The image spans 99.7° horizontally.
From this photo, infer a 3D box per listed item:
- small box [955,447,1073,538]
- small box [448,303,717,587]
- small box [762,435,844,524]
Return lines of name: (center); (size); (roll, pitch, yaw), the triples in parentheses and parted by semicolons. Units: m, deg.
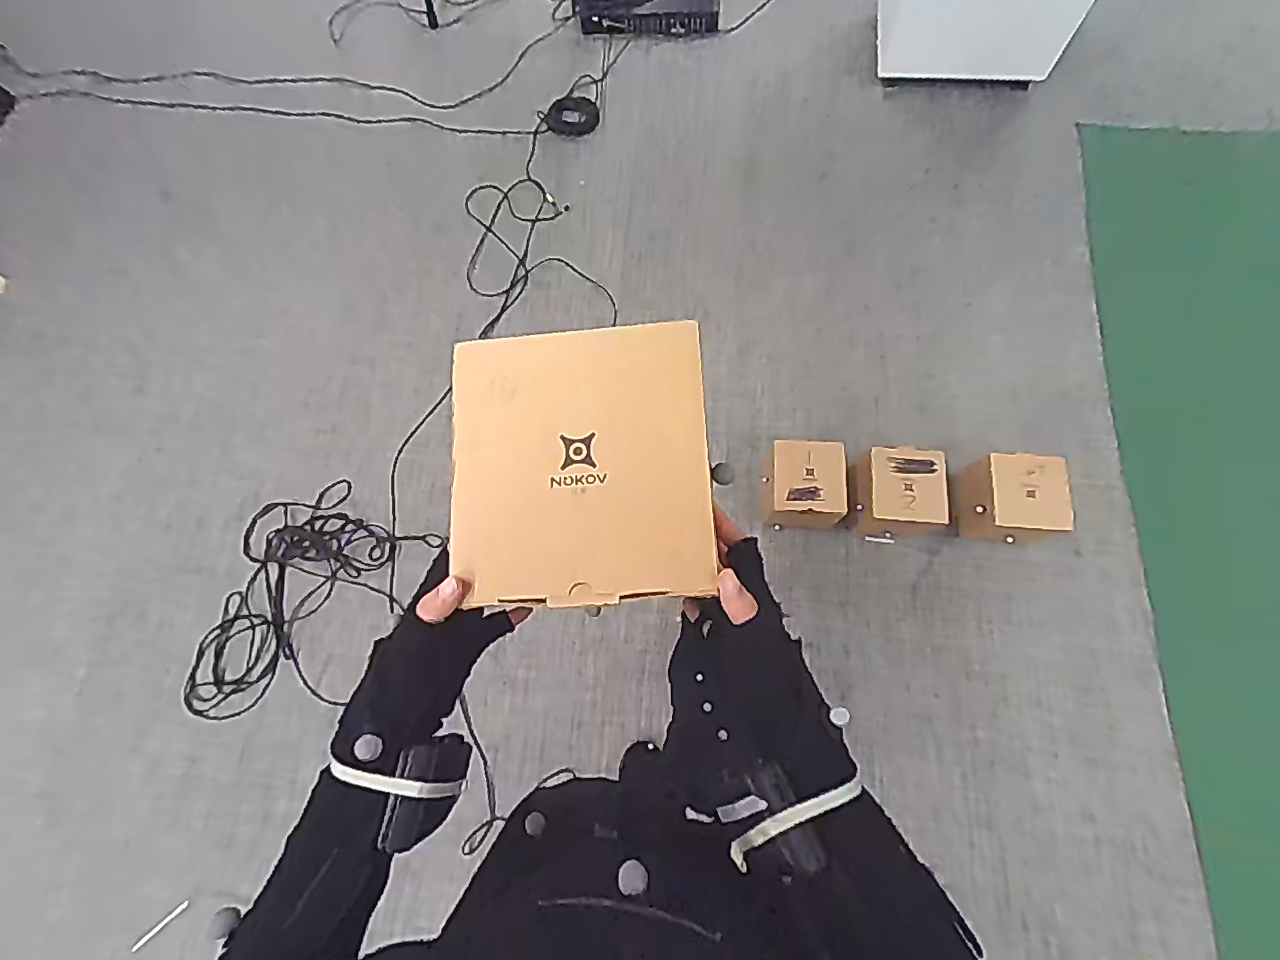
small box: (0.871, 0.037, 1.278); (0.168, 0.176, 0.179); (4, 73, 5)
small box: (-0.033, -0.010, 0.419); (0.168, 0.176, 0.179); (-5, 79, 5)
small box: (0.393, 0.005, 1.321); (0.168, 0.176, 0.179); (3, 72, 6)
